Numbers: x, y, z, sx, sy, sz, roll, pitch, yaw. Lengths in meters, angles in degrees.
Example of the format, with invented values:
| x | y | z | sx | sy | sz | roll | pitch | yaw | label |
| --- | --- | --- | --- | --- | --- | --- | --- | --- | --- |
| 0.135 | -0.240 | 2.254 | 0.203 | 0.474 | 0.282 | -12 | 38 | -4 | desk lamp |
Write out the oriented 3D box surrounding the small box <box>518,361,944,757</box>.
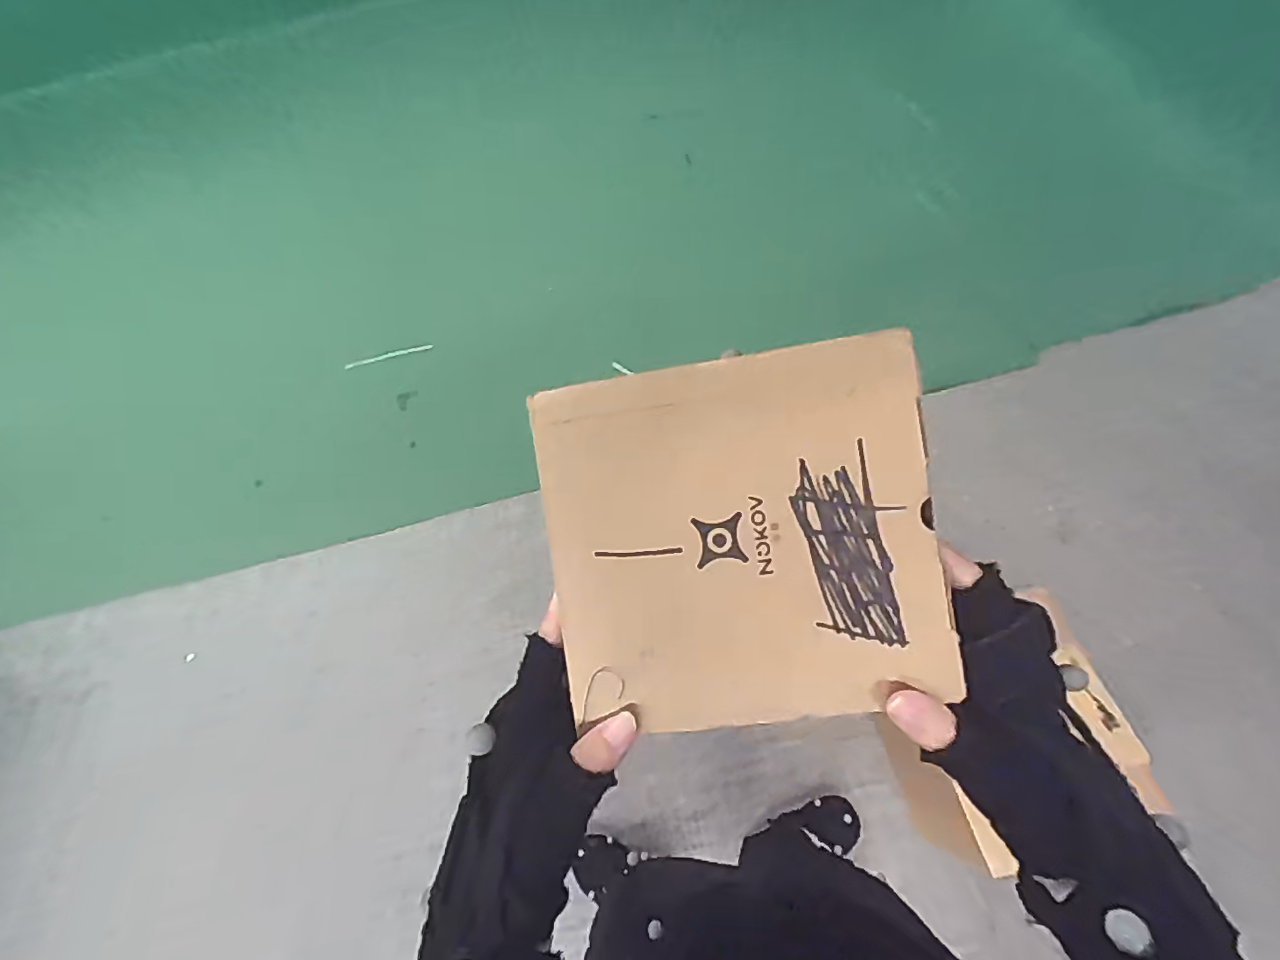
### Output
| x | y | z | sx | sy | sz | roll | pitch | yaw | label |
| --- | --- | --- | --- | --- | --- | --- | --- | --- | --- |
| 0.046 | 0.037 | 0.325 | 0.179 | 0.176 | 0.168 | -9 | 89 | 6 | small box |

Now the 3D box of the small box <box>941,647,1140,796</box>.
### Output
| x | y | z | sx | sy | sz | roll | pitch | yaw | label |
| --- | --- | --- | --- | --- | --- | --- | --- | --- | --- |
| 0.606 | 0.382 | 0.858 | 0.179 | 0.176 | 0.168 | -18 | 63 | -1 | small box |
